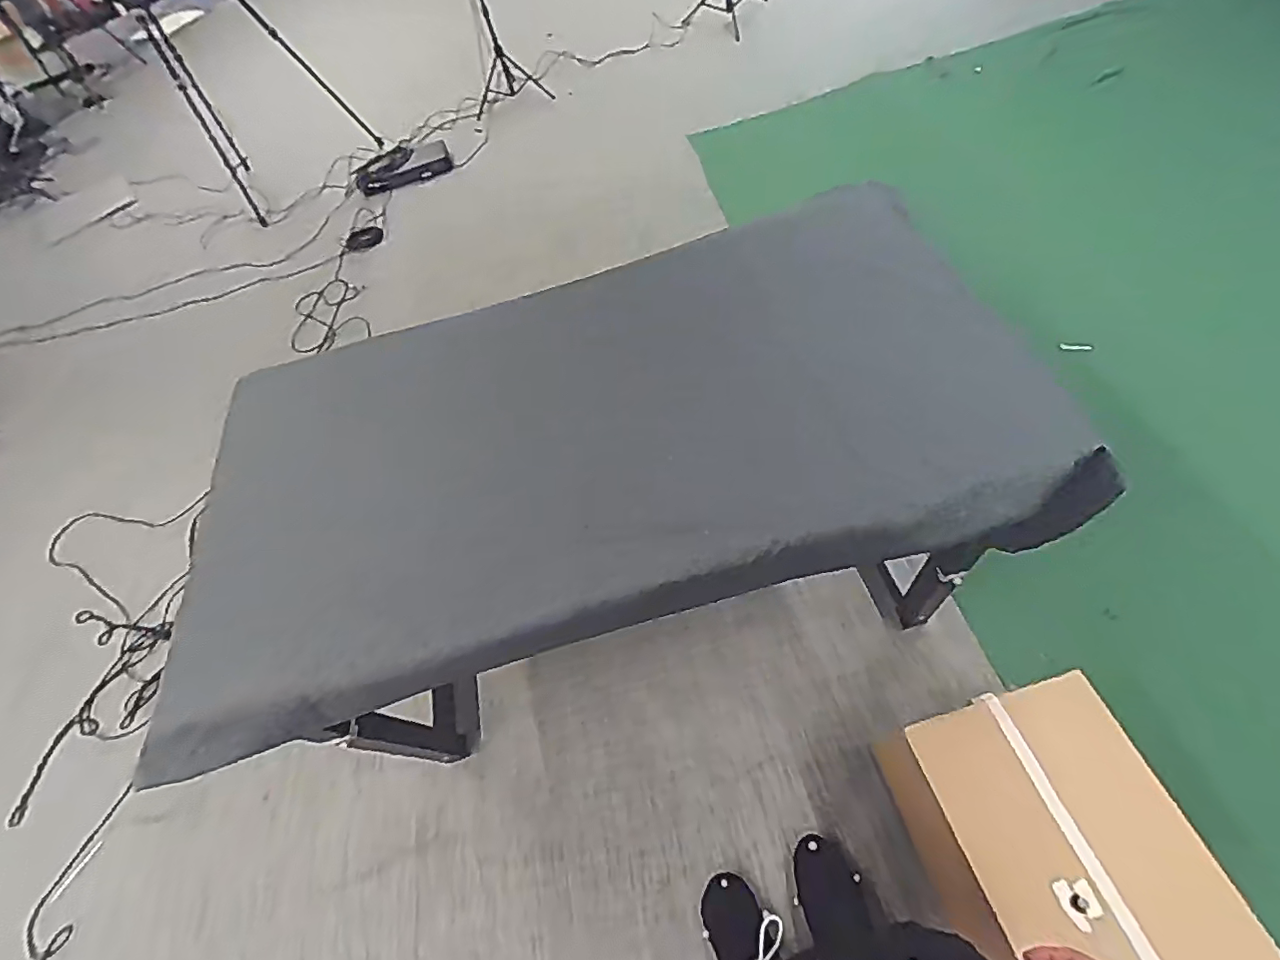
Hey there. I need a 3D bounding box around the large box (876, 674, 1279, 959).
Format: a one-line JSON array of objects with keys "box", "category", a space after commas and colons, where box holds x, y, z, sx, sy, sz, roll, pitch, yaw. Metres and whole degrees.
[{"box": [0.663, 0.599, 0.908, 0.320, 0.320, 0.408, -19, 56, 1], "category": "large box"}]
